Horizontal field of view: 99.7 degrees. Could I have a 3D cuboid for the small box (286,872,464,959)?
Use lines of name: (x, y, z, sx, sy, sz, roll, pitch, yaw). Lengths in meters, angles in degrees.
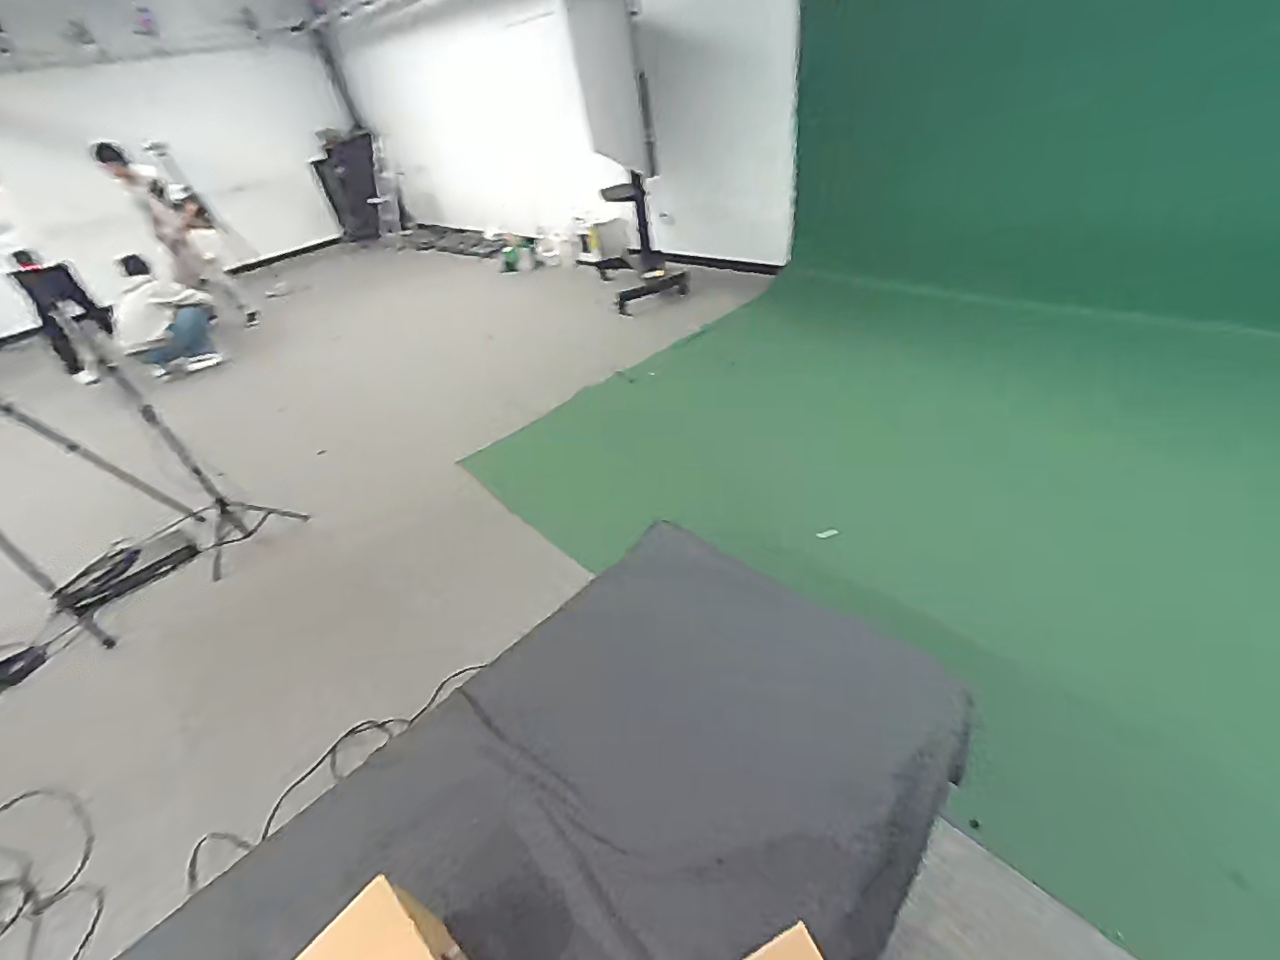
small box: (-0.253, 0.540, 0.521, 0.179, 0.176, 0.168, 22, 48, 37)
